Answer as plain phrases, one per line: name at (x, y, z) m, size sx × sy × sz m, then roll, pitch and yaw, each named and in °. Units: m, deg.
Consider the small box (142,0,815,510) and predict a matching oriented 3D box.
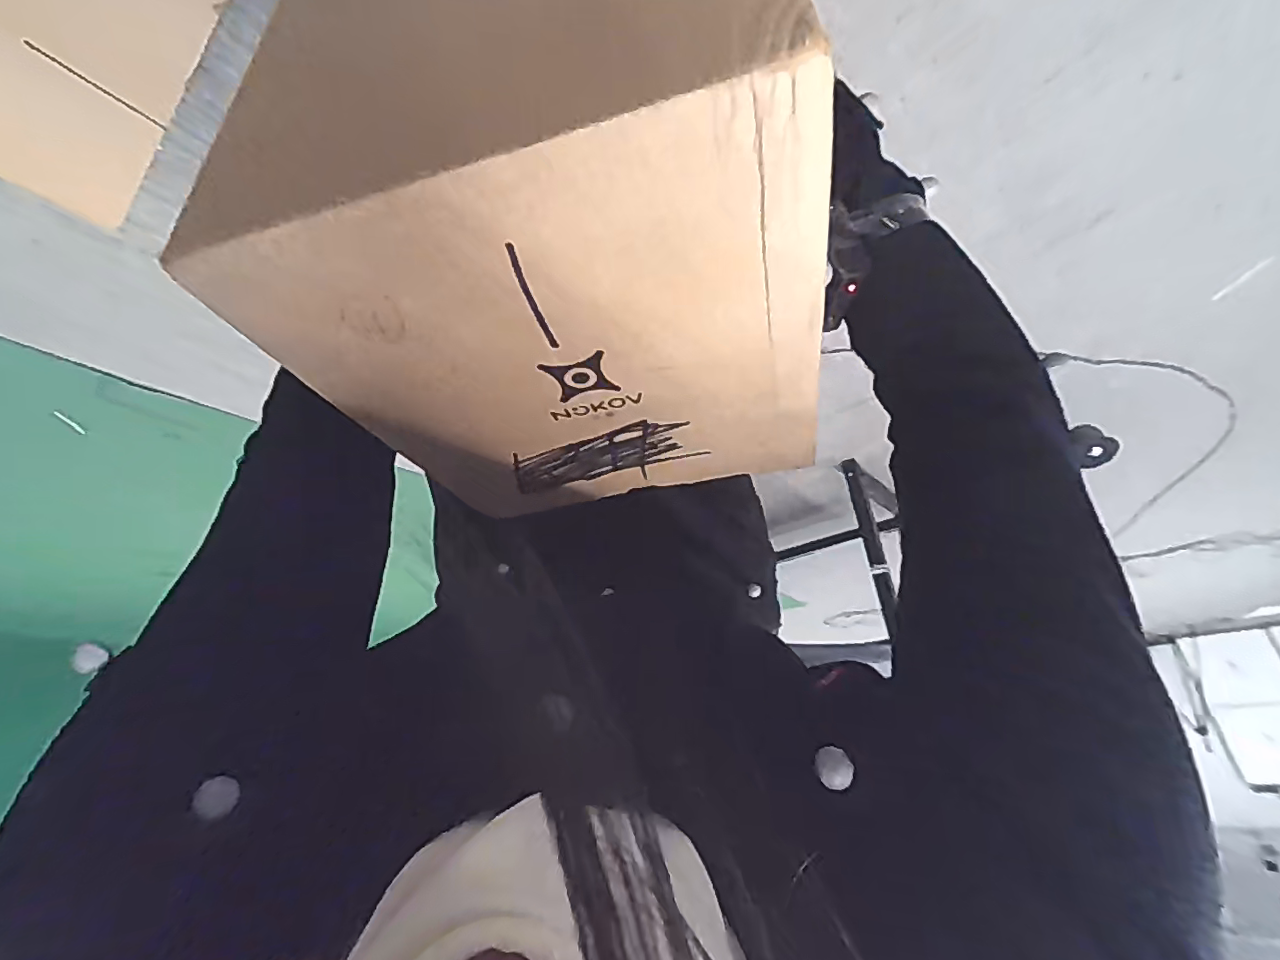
small box at (-0.029, -0.107, 0.228) m, size 0.168 × 0.176 × 0.179 m, roll -11°, pitch 151°, yaw 12°
